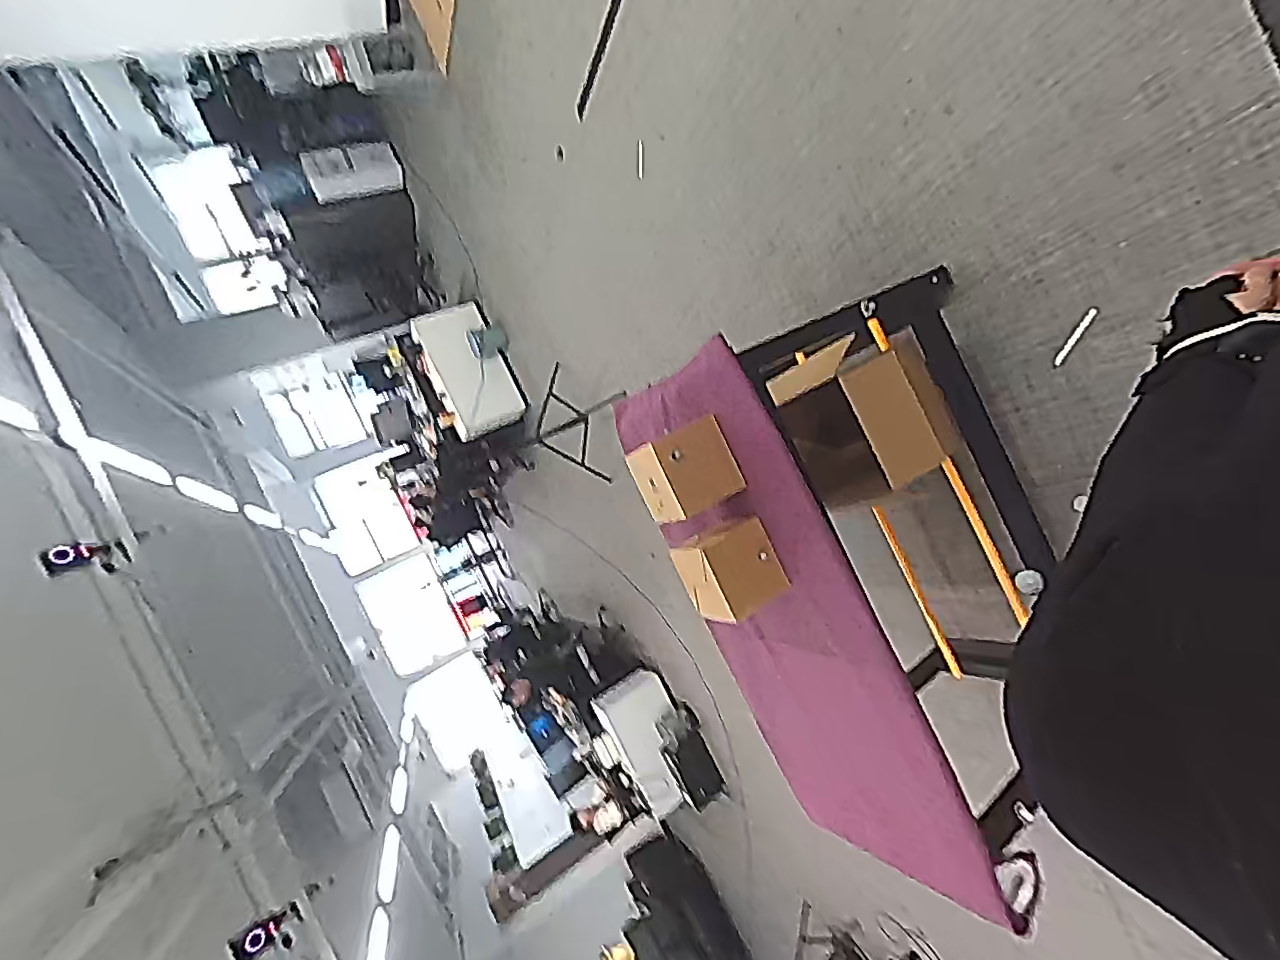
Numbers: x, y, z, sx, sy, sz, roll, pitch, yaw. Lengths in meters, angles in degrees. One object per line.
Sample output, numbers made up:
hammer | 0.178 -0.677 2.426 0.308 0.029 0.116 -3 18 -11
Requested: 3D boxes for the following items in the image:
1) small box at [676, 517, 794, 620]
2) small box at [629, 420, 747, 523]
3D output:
small box | 0.207 0.203 1.221 0.179 0.176 0.168 64 157 -2
small box | 0.105 -0.021 1.207 0.179 0.176 0.168 64 158 -1
